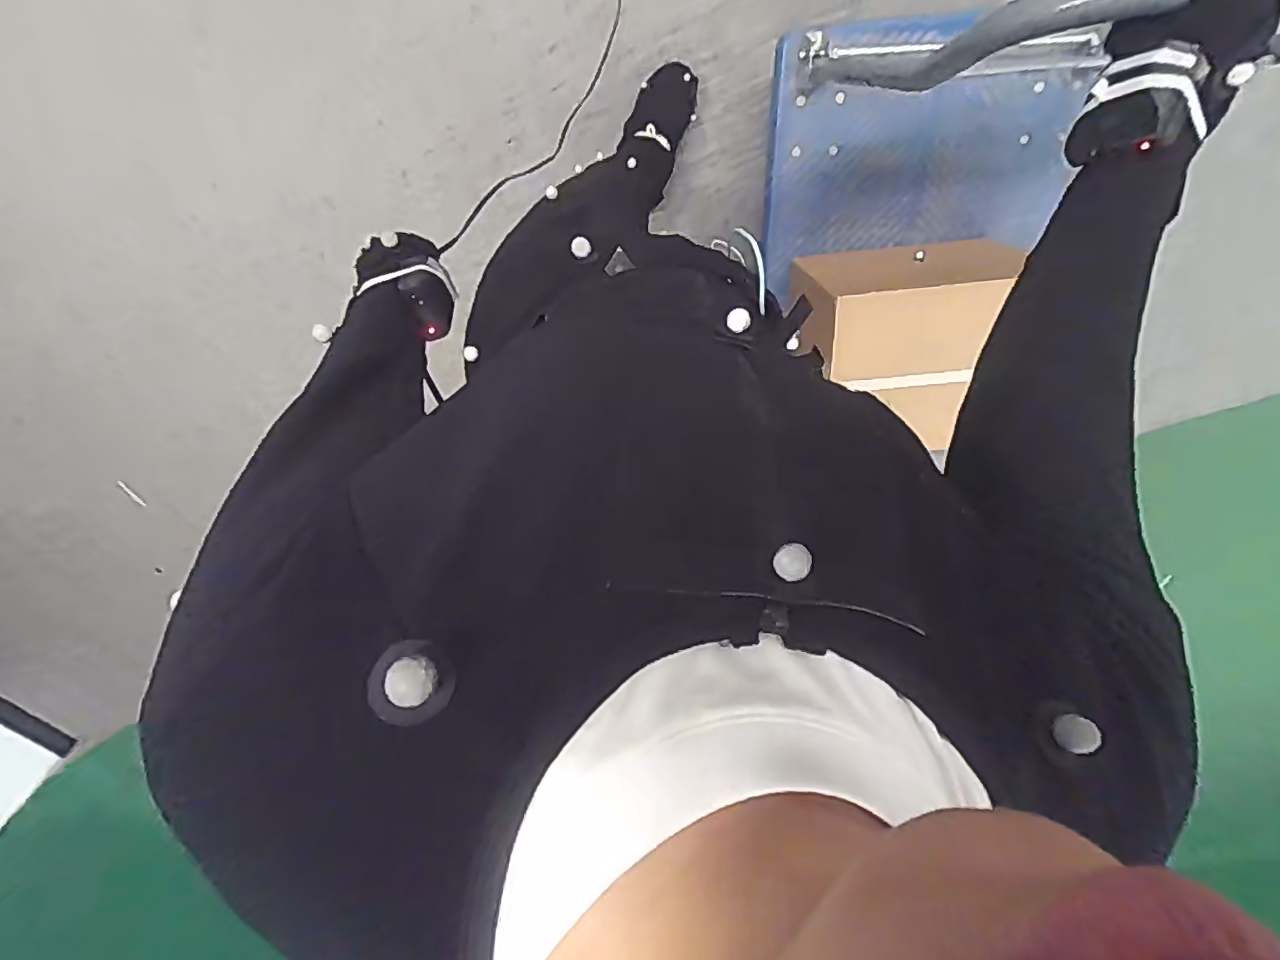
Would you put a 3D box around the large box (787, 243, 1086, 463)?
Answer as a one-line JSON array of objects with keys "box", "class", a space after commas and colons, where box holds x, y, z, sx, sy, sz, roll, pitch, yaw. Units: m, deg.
[{"box": [0.524, -0.260, 1.067, 0.408, 0.320, 0.320, -6, 123, 3], "class": "large box"}]
